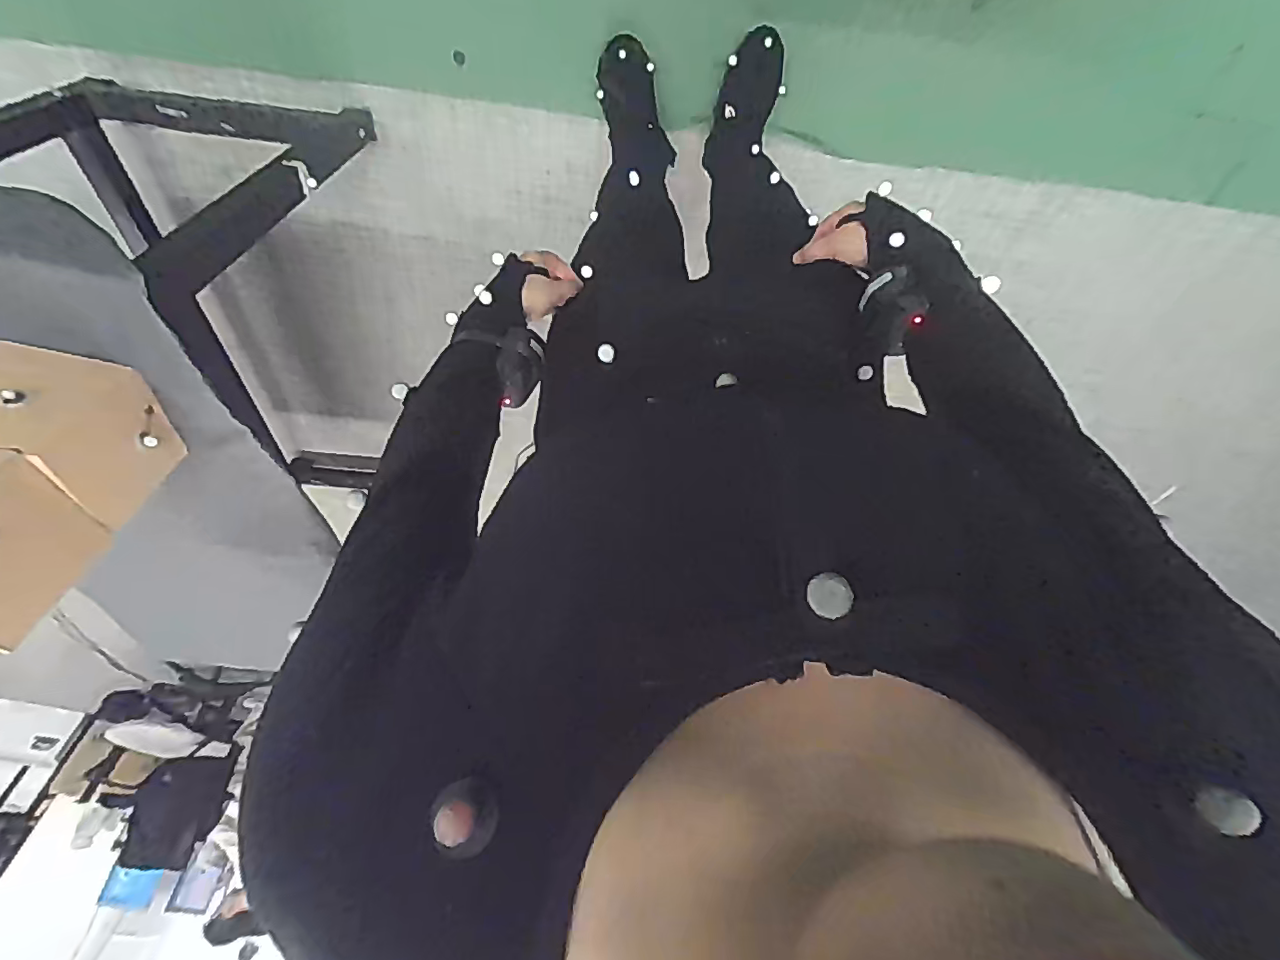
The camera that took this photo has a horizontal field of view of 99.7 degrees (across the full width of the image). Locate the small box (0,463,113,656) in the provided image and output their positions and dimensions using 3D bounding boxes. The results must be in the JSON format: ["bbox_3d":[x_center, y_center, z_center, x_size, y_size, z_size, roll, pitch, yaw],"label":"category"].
[{"bbox_3d":[-0.783,0.077,0.611,0.168,0.176,0.179,7,140,1],"label":"small box"}]

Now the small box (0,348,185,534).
[{"bbox_3d":[-0.768,-0.051,0.711,0.179,0.176,0.168,11,139,-6],"label":"small box"}]
